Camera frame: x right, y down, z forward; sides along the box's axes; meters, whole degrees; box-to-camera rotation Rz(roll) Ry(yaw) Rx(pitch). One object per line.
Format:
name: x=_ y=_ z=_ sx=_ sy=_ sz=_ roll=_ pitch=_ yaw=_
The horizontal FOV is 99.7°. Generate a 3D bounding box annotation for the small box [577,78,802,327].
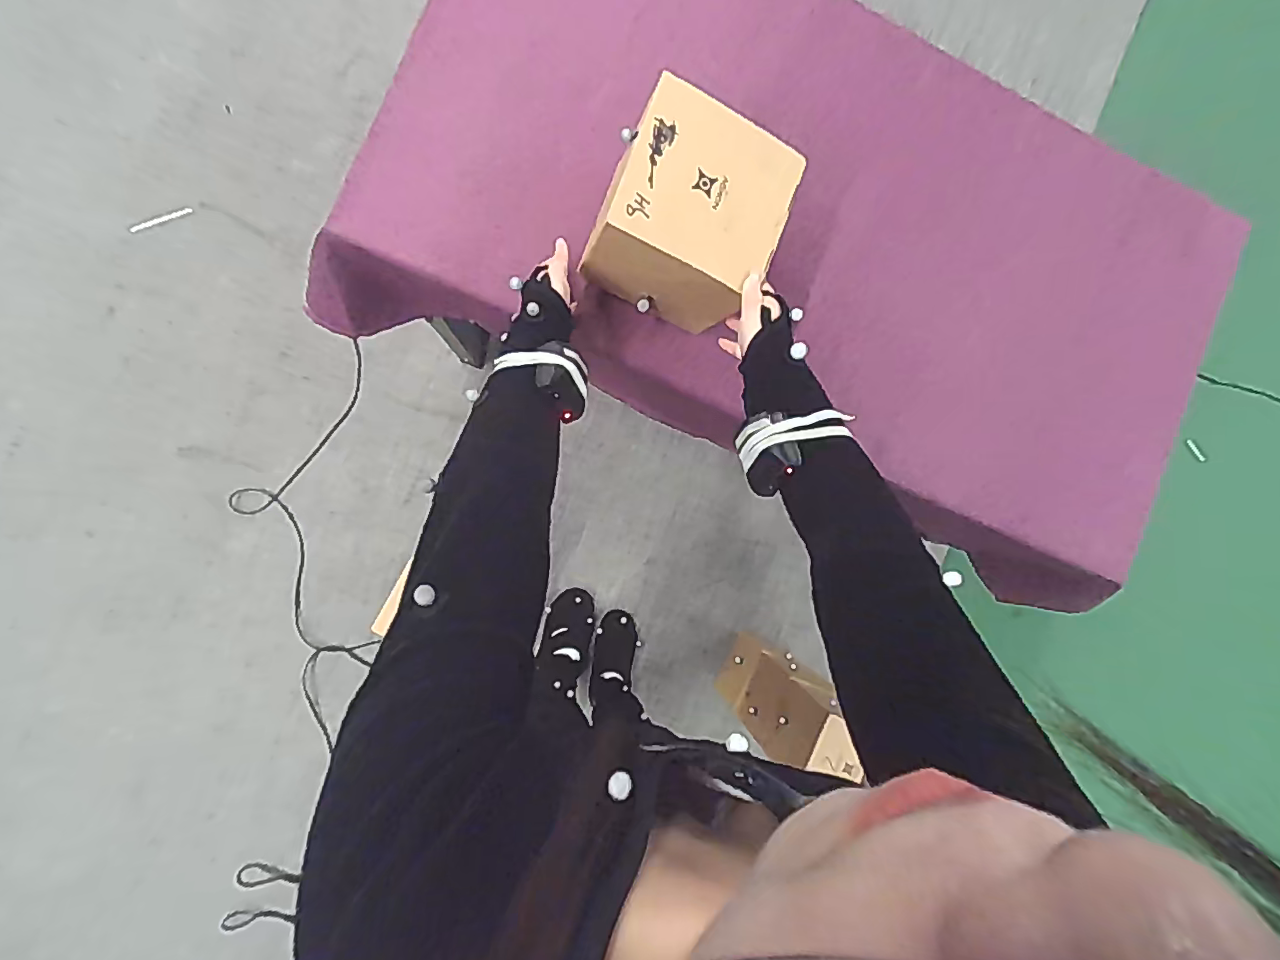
small box: x=0.046 y=-0.294 z=0.625 sx=0.179 sy=0.176 sz=0.168 roll=22 pitch=85 yaw=-17

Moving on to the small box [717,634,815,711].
small box: x=0.323 y=0.520 z=1.406 sx=0.179 sy=0.176 sz=0.168 roll=27 pitch=86 yaw=-8

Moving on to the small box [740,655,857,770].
small box: x=0.354 y=0.524 z=1.246 sx=0.179 sy=0.176 sz=0.168 roll=24 pitch=87 yaw=-8
